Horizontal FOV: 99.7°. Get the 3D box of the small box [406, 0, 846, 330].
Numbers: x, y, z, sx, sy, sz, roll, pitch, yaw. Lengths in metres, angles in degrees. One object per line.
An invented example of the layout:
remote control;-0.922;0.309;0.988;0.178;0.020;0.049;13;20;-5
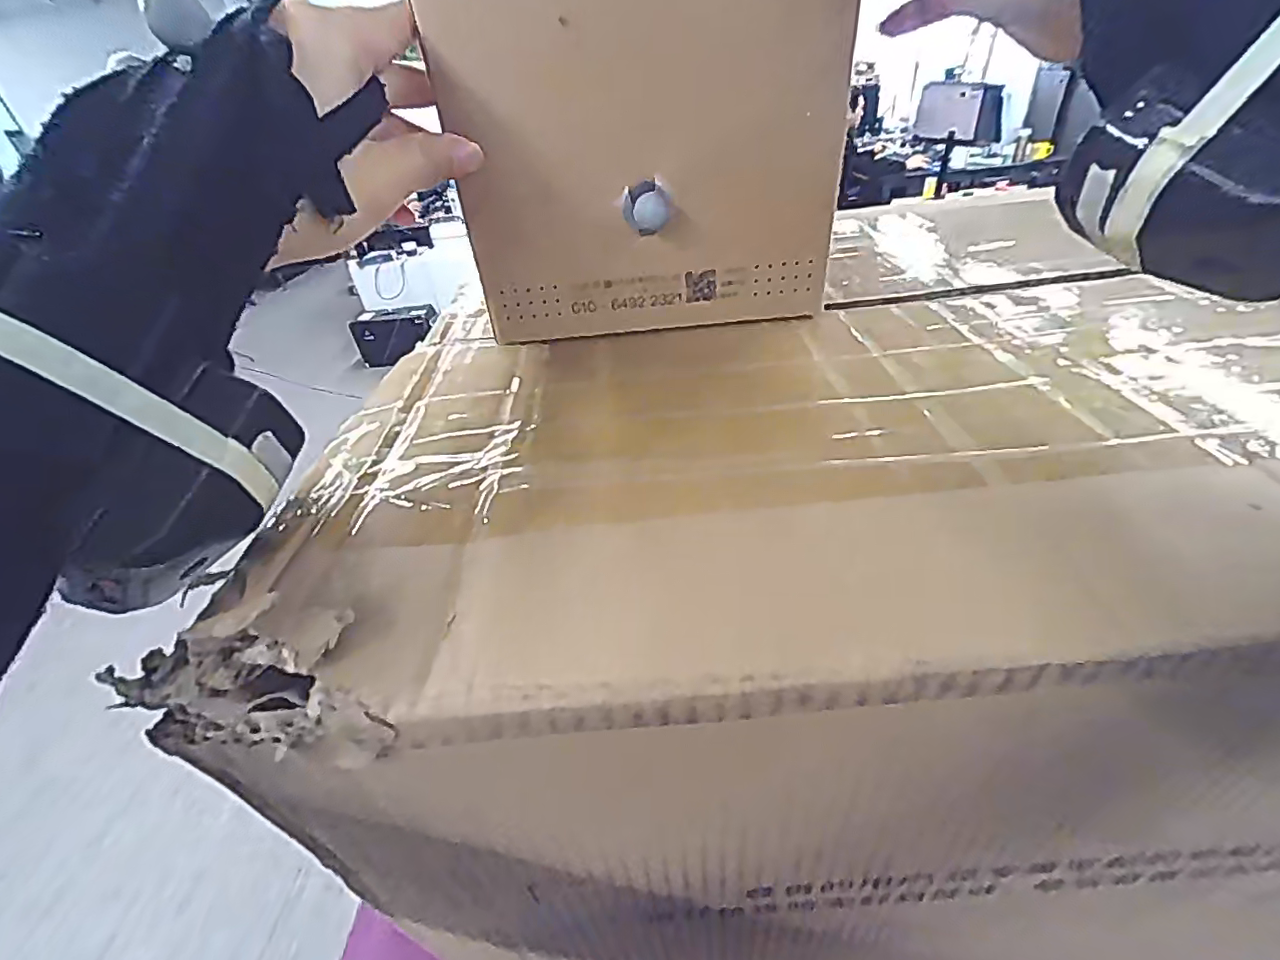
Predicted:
small box;-0.007;-0.192;0.283;0.168;0.176;0.179;-5;37;1
